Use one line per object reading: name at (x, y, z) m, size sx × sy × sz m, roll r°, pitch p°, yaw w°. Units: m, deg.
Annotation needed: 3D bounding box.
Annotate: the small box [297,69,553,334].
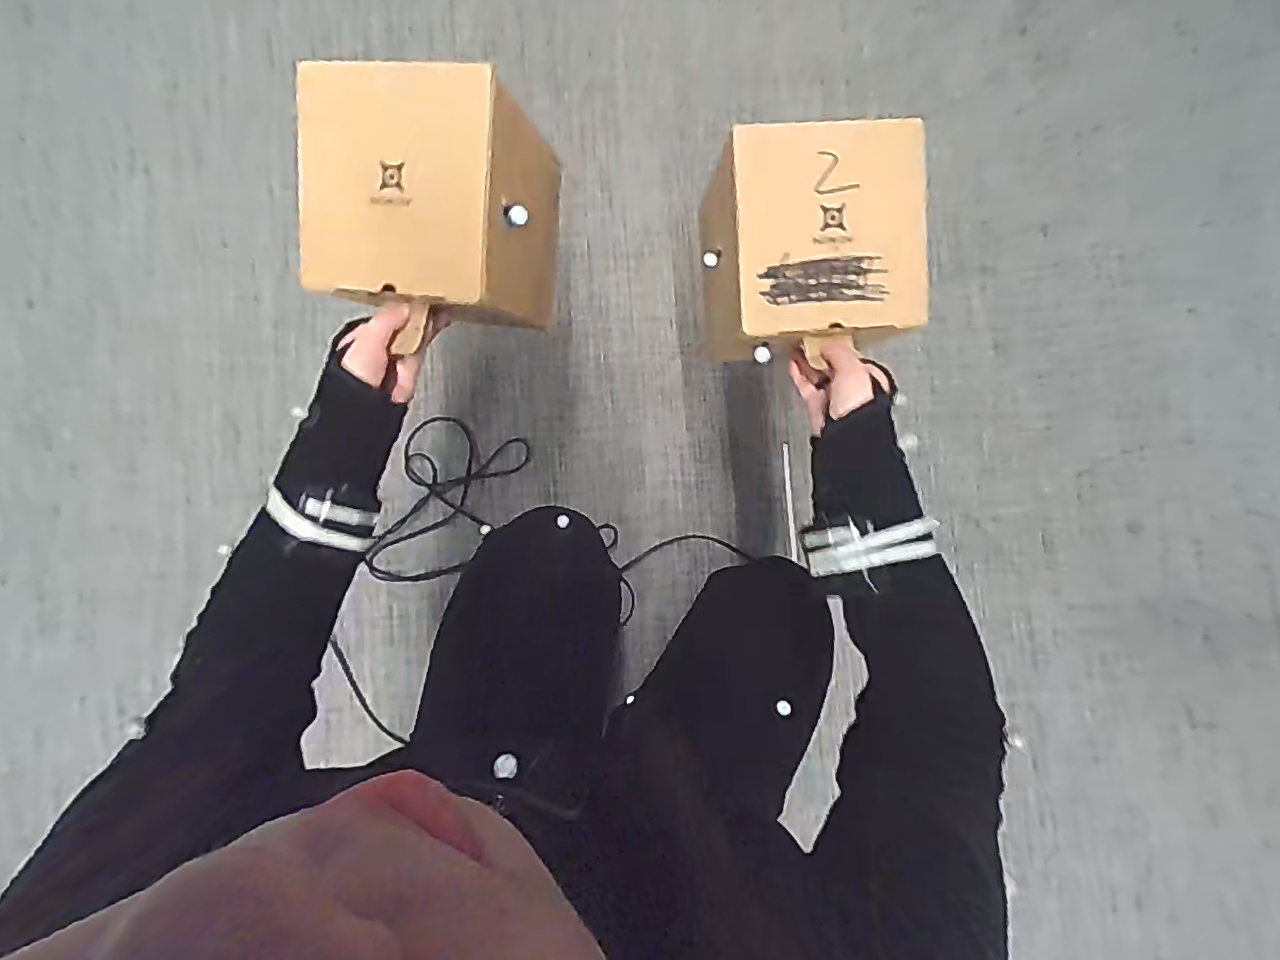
small box at (-0.188, -0.244, 0.513) m, size 0.168 × 0.176 × 0.179 m, roll 8°, pitch 101°, yaw 8°
